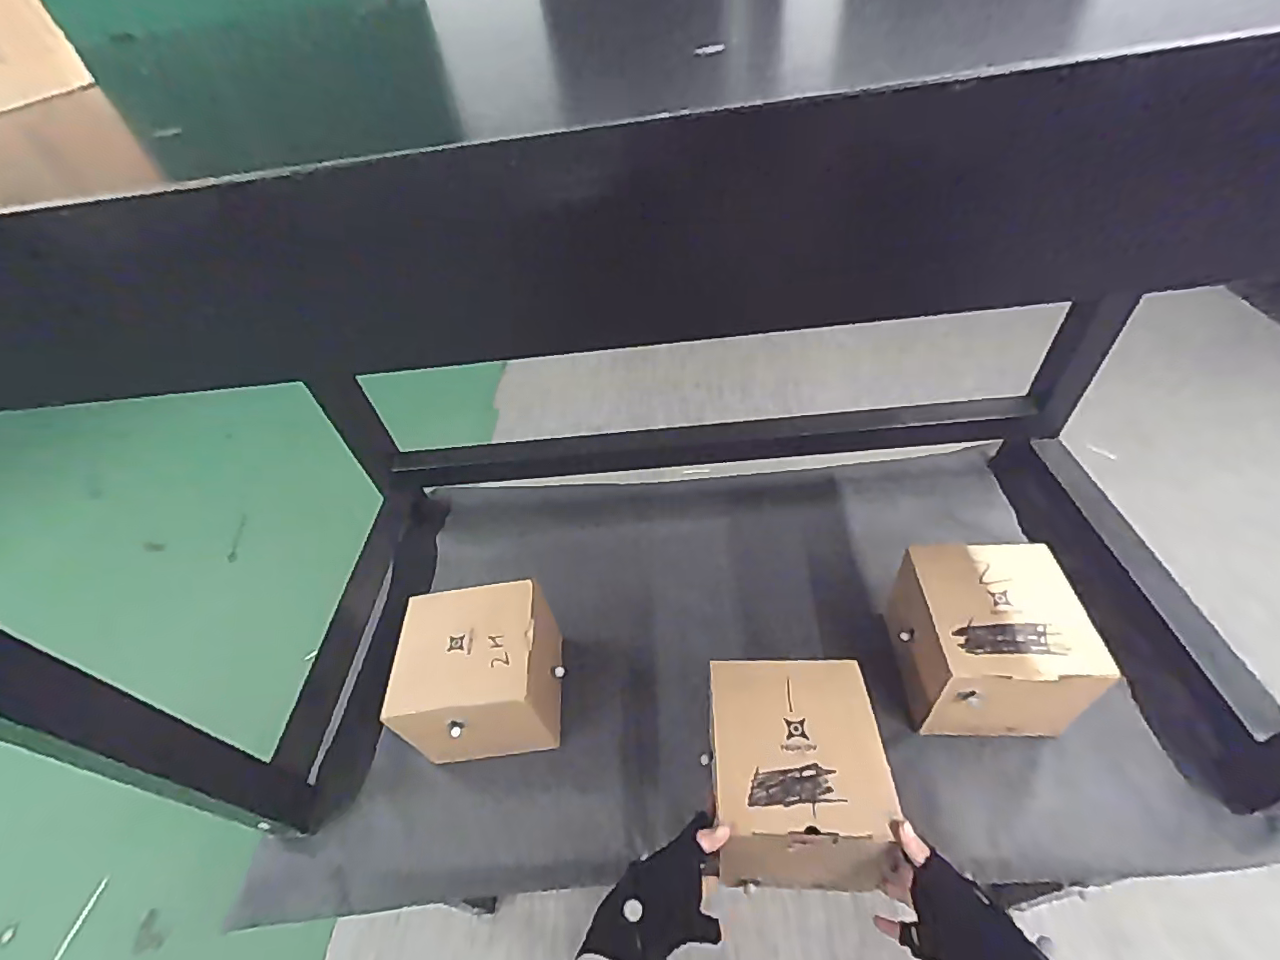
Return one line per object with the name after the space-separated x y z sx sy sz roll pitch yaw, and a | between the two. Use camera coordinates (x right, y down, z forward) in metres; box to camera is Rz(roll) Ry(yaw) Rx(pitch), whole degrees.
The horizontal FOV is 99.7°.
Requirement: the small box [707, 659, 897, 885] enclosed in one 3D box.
0.160 0.320 0.596 0.168 0.176 0.179 -2 39 6 | small box

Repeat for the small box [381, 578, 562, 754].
-0.214 0.258 0.740 0.179 0.176 0.168 -7 46 2 | small box
